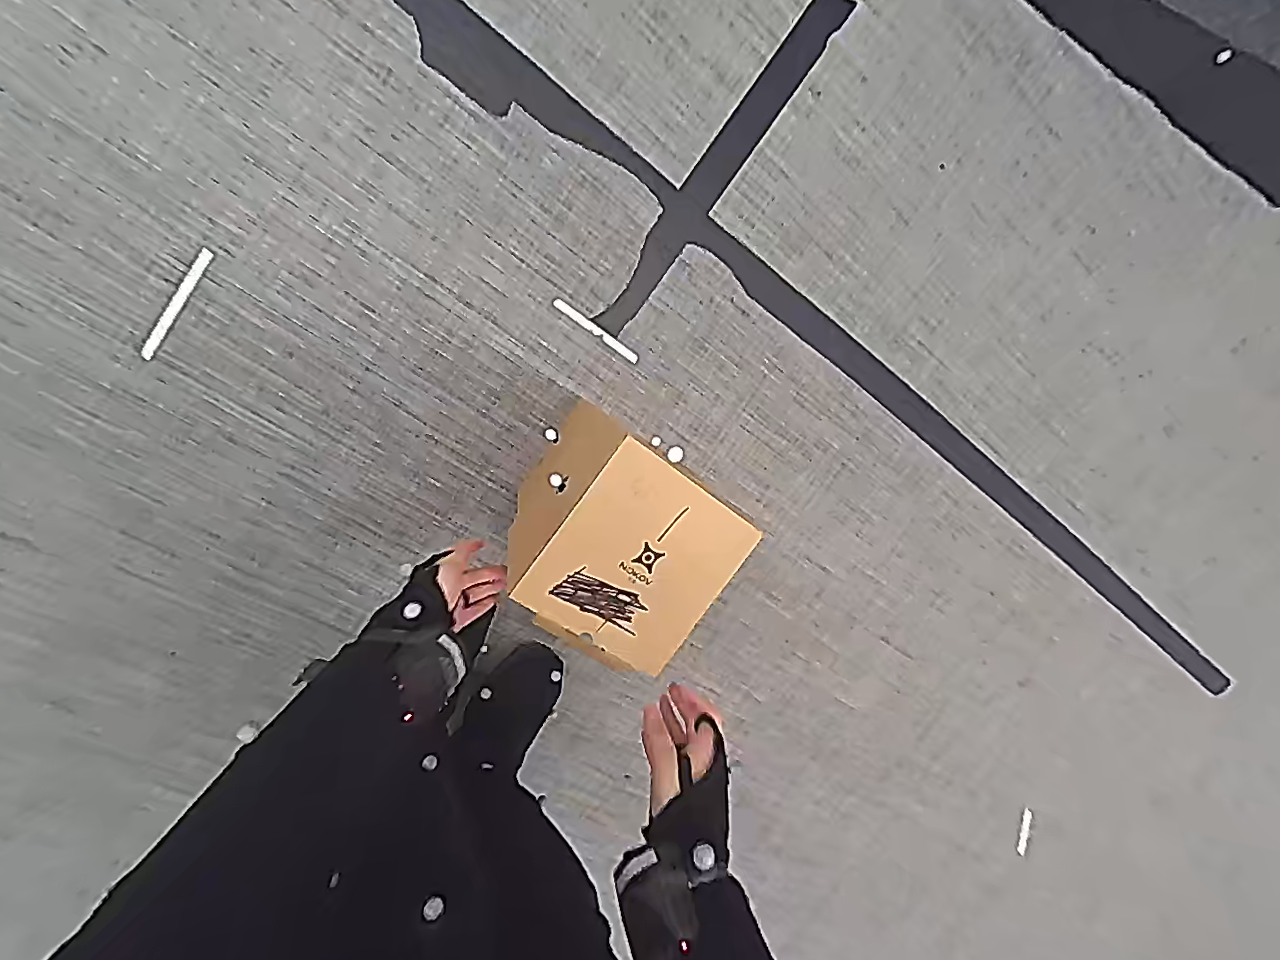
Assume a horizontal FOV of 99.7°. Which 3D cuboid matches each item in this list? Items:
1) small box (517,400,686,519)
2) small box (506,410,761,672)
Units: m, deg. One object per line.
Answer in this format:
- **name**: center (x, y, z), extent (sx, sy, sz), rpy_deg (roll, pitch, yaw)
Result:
- **small box**: center (-0.042, 0.010, 0.708), extent (0.179, 0.176, 0.168), rpy_deg (33, 96, -18)
- **small box**: center (-0.017, 0.050, 0.551), extent (0.168, 0.176, 0.179), rpy_deg (36, 94, -19)
